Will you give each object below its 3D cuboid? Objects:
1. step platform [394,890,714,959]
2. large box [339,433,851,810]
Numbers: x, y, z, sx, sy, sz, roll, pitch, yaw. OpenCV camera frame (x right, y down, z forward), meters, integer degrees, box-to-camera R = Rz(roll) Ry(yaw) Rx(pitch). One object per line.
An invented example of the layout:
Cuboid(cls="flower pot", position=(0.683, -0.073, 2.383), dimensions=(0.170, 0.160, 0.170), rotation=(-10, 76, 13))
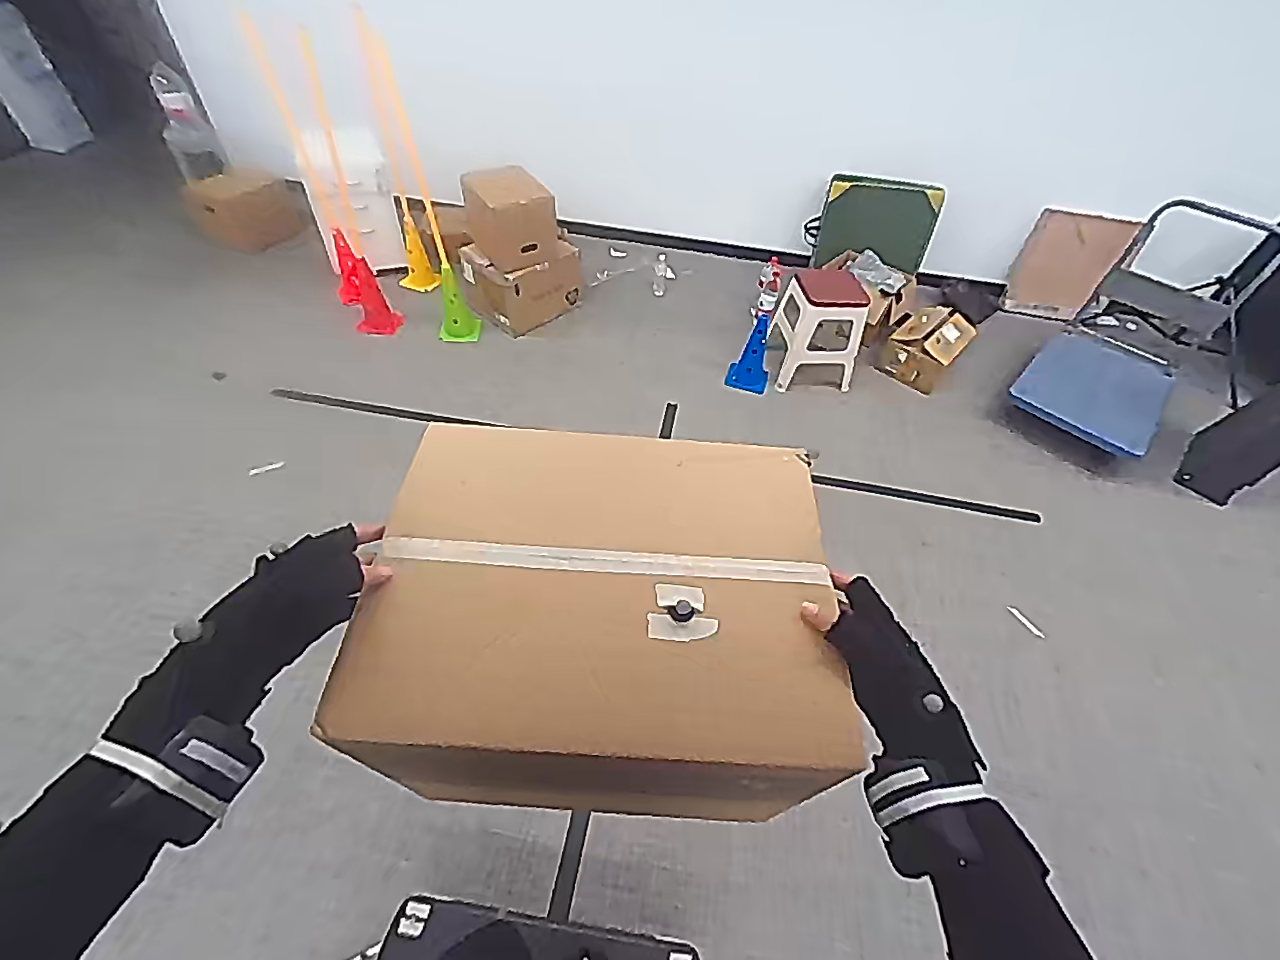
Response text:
Cuboid(cls="step platform", position=(-0.182, 1.090, 1.133), dimensions=(0.684, 0.204, 0.286), rotation=(9, 49, 1))
Cuboid(cls="large box", position=(-0.037, 0.172, 0.619), dimensions=(0.408, 0.320, 0.320), rotation=(5, 52, -1))
